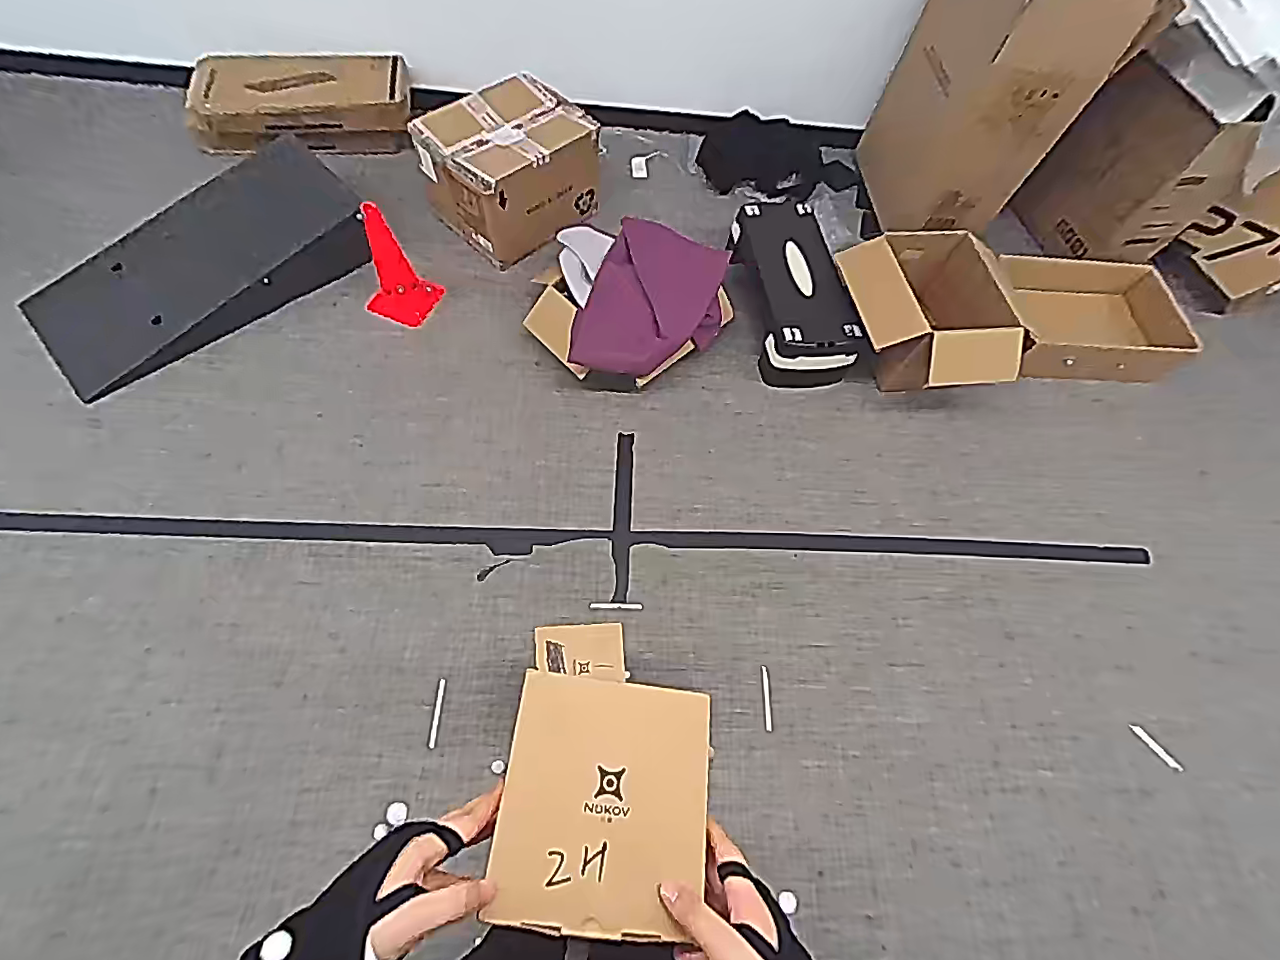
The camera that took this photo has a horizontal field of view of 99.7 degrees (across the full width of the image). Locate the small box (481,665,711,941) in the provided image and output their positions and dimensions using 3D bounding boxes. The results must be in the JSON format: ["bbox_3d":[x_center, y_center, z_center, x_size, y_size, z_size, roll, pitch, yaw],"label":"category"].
[{"bbox_3d":[-0.039,0.287,0.498,0.168,0.176,0.179,10,60,-5],"label":"small box"}]

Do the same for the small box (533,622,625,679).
[{"bbox_3d":[-0.123,0.395,1.108,0.179,0.176,0.168,-2,64,-6],"label":"small box"}]
